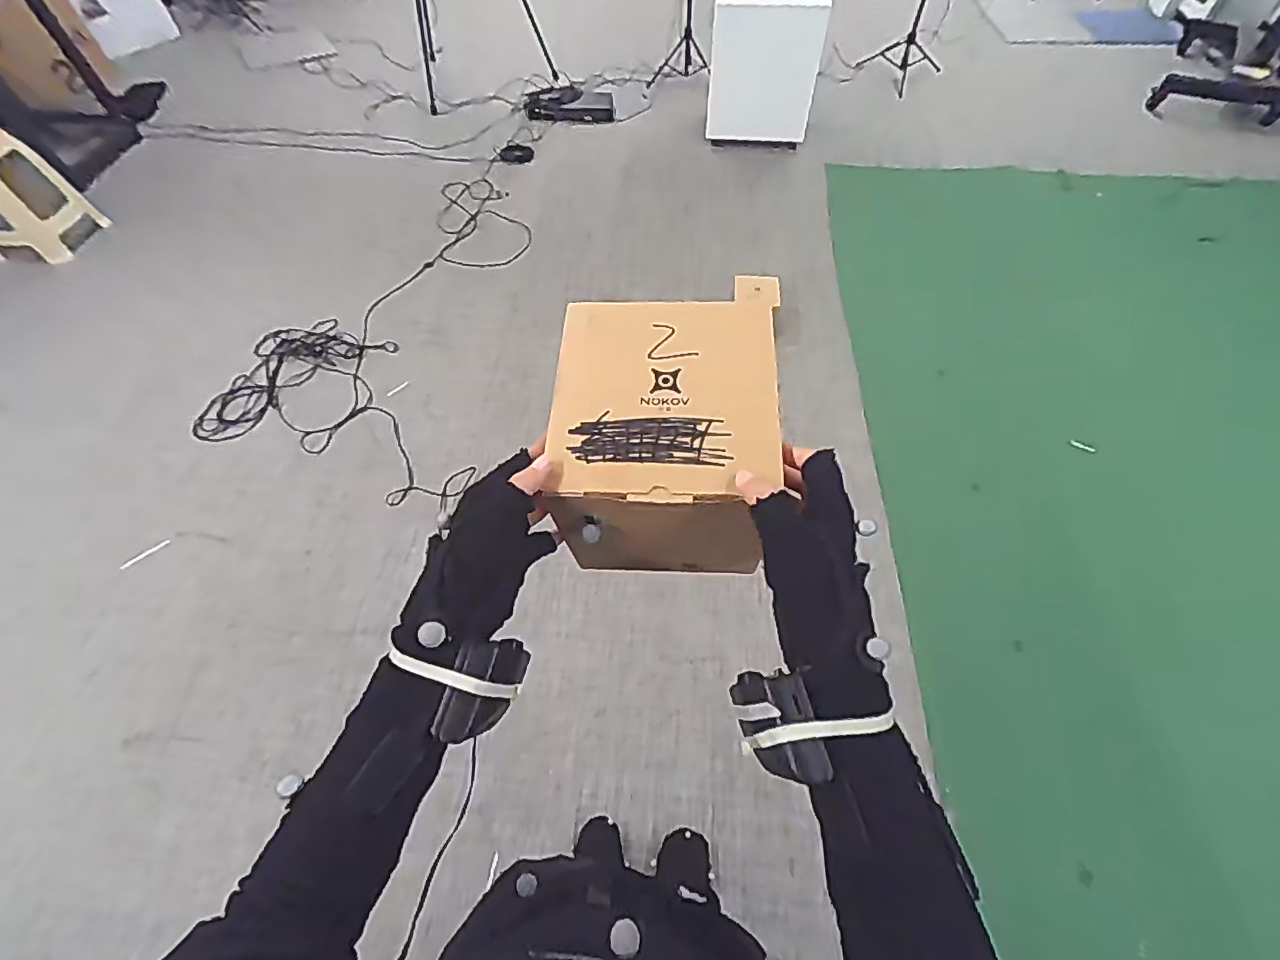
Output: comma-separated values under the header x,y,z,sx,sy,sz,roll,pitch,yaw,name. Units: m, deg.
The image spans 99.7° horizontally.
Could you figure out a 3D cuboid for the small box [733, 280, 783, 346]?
x,y,z,sx,sy,sz,roll,pitch,yaw,name
0.447,-0.639,2.068,0.168,0.176,0.179,4,57,5,small box
